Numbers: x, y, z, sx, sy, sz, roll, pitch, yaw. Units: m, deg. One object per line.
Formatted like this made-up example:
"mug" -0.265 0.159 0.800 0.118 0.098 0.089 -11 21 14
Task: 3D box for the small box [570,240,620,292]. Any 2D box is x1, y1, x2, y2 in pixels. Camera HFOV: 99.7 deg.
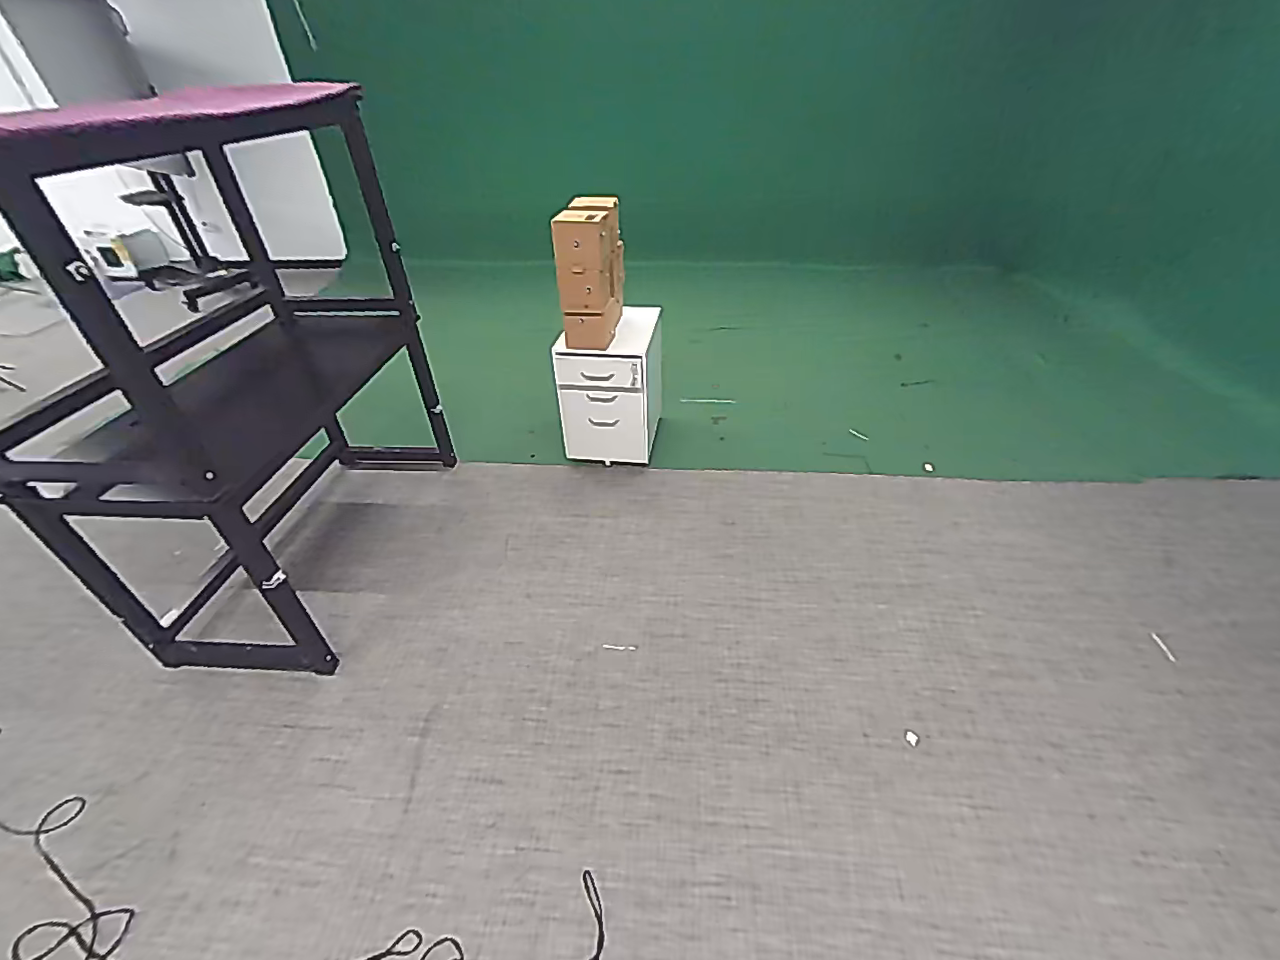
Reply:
"small box" -0.188 -0.913 2.309 0.179 0.176 0.168 7 39 10

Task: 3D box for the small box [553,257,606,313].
"small box" -0.229 -0.762 2.113 0.168 0.176 0.179 5 37 7

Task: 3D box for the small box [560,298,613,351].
"small box" -0.217 -0.643 2.224 0.179 0.176 0.168 6 38 9
